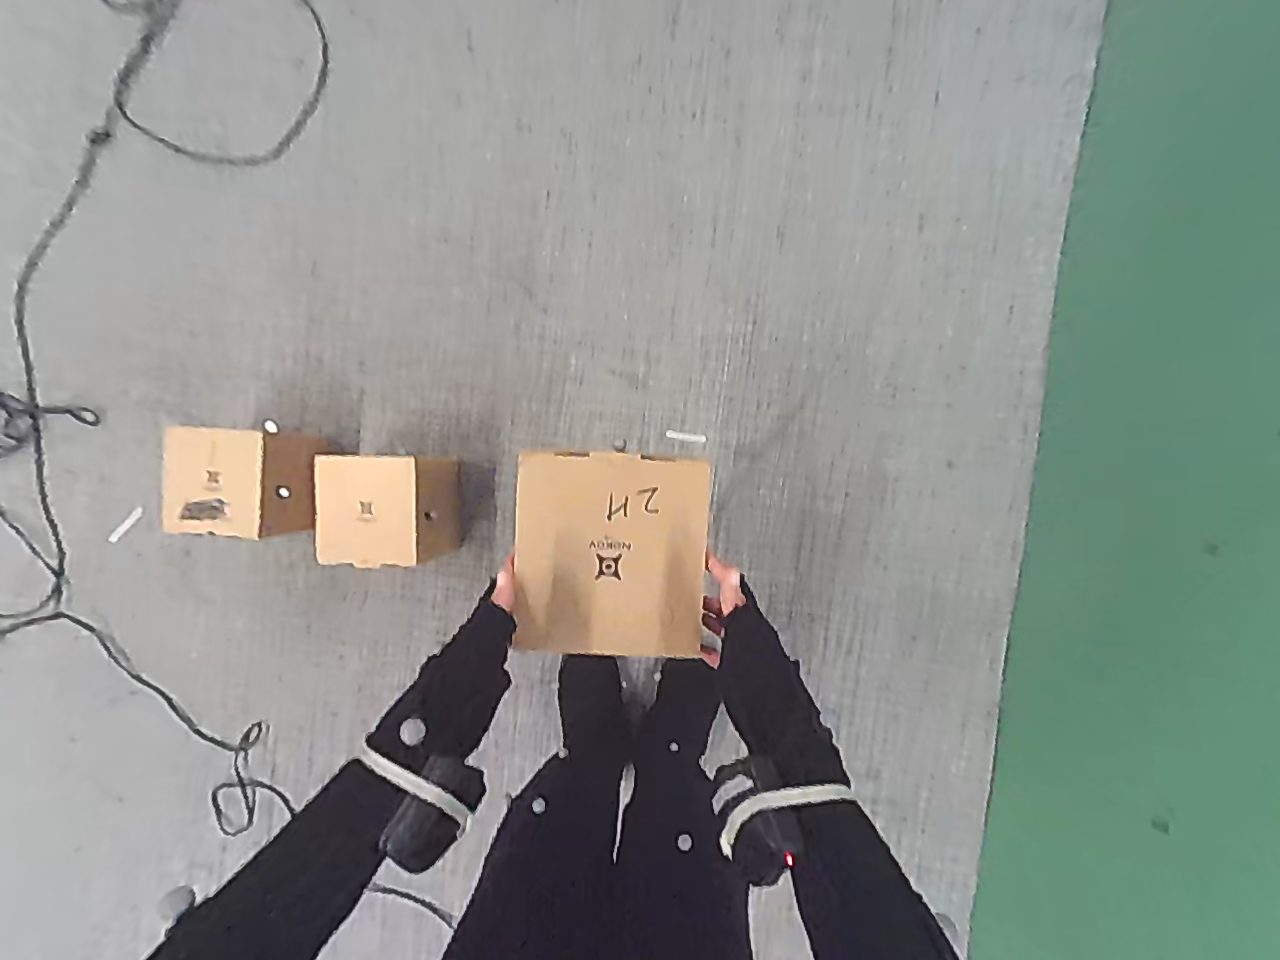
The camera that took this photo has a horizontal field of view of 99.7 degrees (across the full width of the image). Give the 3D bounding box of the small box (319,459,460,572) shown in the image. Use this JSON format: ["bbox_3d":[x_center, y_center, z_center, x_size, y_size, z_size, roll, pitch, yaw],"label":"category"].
[{"bbox_3d":[-0.420,0.054,0.929,0.168,0.176,0.179,1,93,4],"label":"small box"}]

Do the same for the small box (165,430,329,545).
[{"bbox_3d":[-0.671,0.009,0.941,0.168,0.176,0.179,4,91,3],"label":"small box"}]

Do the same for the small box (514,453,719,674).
[{"bbox_3d":[-0.022,0.068,0.531,0.168,0.176,0.179,3,94,-2],"label":"small box"}]
